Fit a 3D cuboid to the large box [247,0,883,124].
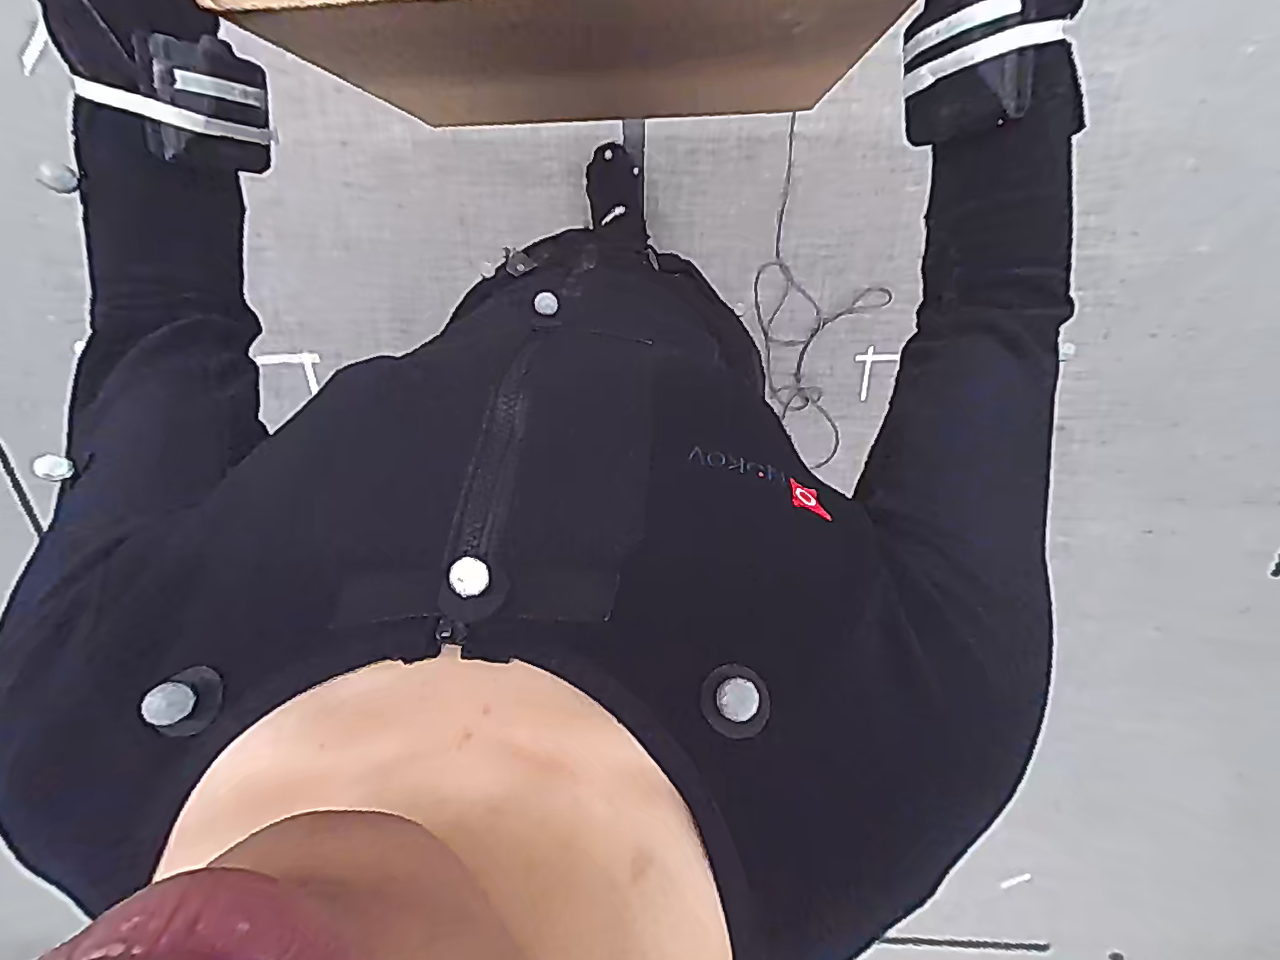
[{"bbox_3d":[-0.037,-0.474,0.375,0.408,0.320,0.320,-1,113,3],"label":"large box"}]
